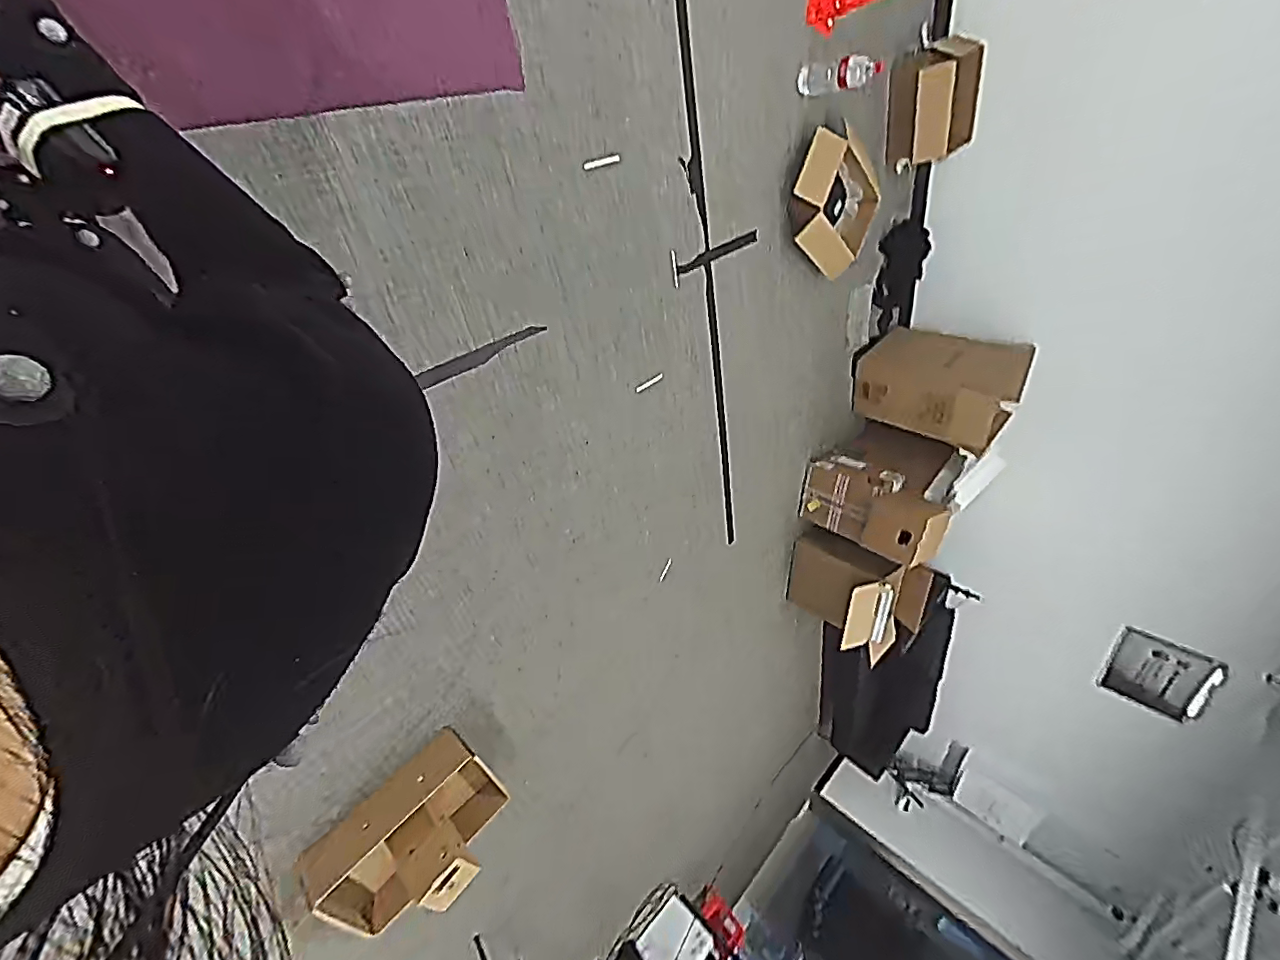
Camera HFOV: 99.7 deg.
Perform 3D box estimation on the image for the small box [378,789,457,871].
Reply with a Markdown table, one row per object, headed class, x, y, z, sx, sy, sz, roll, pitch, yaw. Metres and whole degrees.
| class | x | y | z | sx | sy | sz | roll | pitch | yaw |
| --- | --- | --- | --- | --- | --- | --- | --- | --- | --- |
| small box | -0.808 | 1.261 | 1.959 | 0.168 | 0.176 | 0.179 | -44 | 136 | -24 |
